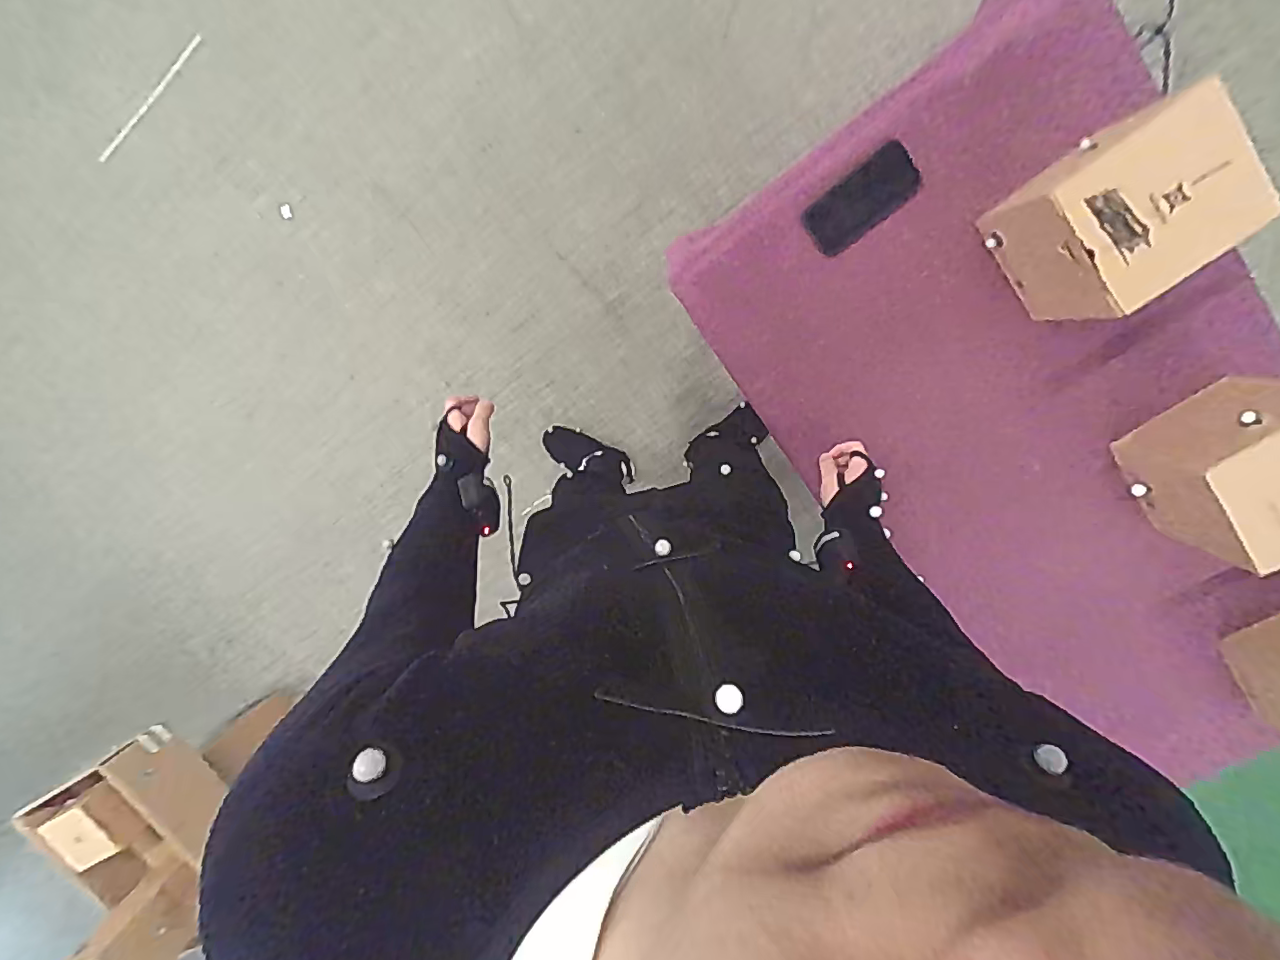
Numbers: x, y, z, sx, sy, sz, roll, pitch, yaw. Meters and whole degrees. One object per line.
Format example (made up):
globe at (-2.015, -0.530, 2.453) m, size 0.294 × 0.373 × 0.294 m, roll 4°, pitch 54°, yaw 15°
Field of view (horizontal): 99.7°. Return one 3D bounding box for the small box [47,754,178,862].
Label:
small box at (-1.484, 0.924, 1.533) m, size 0.179 × 0.176 × 0.168 m, roll -30°, pitch 100°, yaw 12°

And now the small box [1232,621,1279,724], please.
small box at (1.027, 0.293, 0.761) m, size 0.179 × 0.176 × 0.168 m, roll -34°, pitch 98°, yaw 13°

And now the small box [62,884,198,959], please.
small box at (-1.335, 1.222, 1.425) m, size 0.179 × 0.176 × 0.168 m, roll -27°, pitch 101°, yaw 12°

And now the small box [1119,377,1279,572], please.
small box at (0.798, -0.018, 0.703) m, size 0.179 × 0.176 × 0.168 m, roll -34°, pitch 98°, yaw 15°

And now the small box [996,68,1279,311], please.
small box at (0.567, -0.319, 0.643) m, size 0.179 × 0.176 × 0.168 m, roll -36°, pitch 99°, yaw 14°
